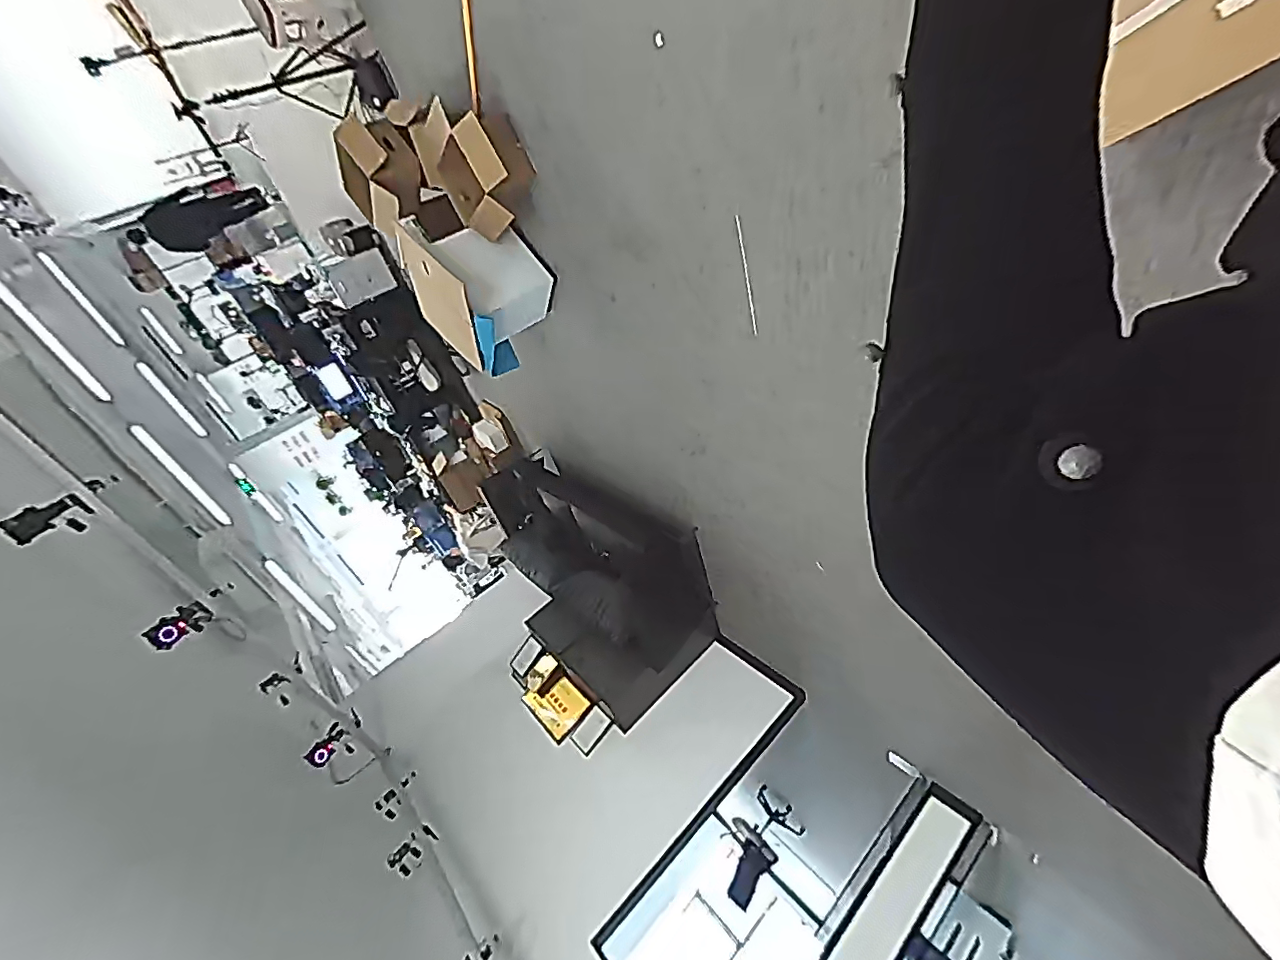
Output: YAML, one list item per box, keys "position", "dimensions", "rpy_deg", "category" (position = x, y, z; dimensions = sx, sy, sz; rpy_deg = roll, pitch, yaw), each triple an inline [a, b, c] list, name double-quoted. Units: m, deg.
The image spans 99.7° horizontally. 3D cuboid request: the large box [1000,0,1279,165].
- position: [0.905, -0.808, 0.868]
  dimensions: [0.320, 0.320, 0.408]
  rpy_deg: [57, 154, -11]
  category: "large box"
